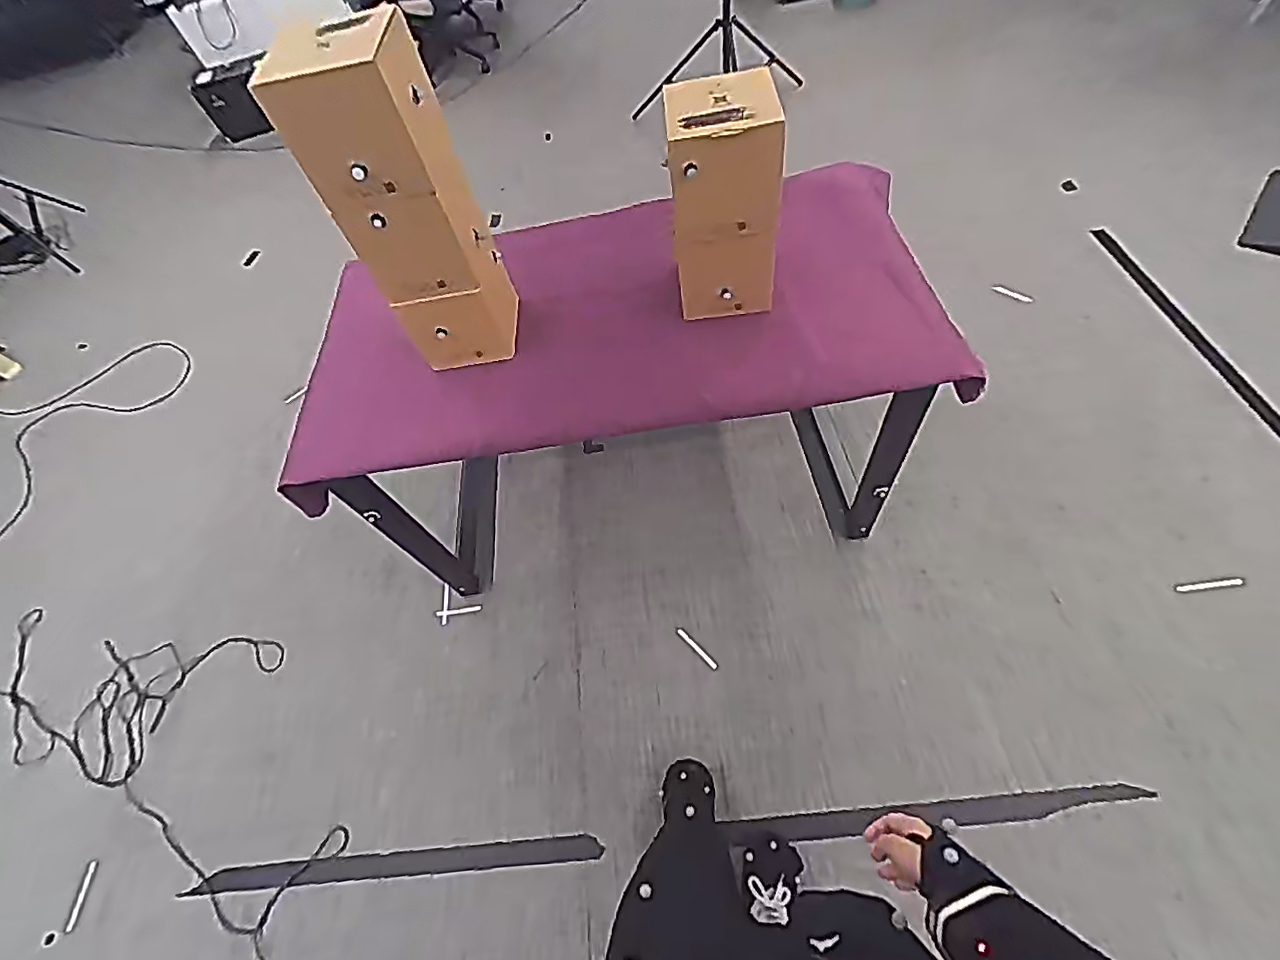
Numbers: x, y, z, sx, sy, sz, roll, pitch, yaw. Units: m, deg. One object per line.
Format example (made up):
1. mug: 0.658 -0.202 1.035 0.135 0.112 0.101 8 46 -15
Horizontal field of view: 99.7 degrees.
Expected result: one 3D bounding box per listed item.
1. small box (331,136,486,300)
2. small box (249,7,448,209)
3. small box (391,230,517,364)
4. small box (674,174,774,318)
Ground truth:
1. small box: -0.367 -0.429 0.897 0.168 0.176 0.179 -9 57 5
2. small box: -0.386 -0.513 0.756 0.168 0.176 0.179 -8 58 5
3. small box: -0.343 -0.338 1.031 0.168 0.176 0.179 -8 57 5
4. small box: 0.151 -0.428 1.001 0.168 0.176 0.179 -5 58 8
